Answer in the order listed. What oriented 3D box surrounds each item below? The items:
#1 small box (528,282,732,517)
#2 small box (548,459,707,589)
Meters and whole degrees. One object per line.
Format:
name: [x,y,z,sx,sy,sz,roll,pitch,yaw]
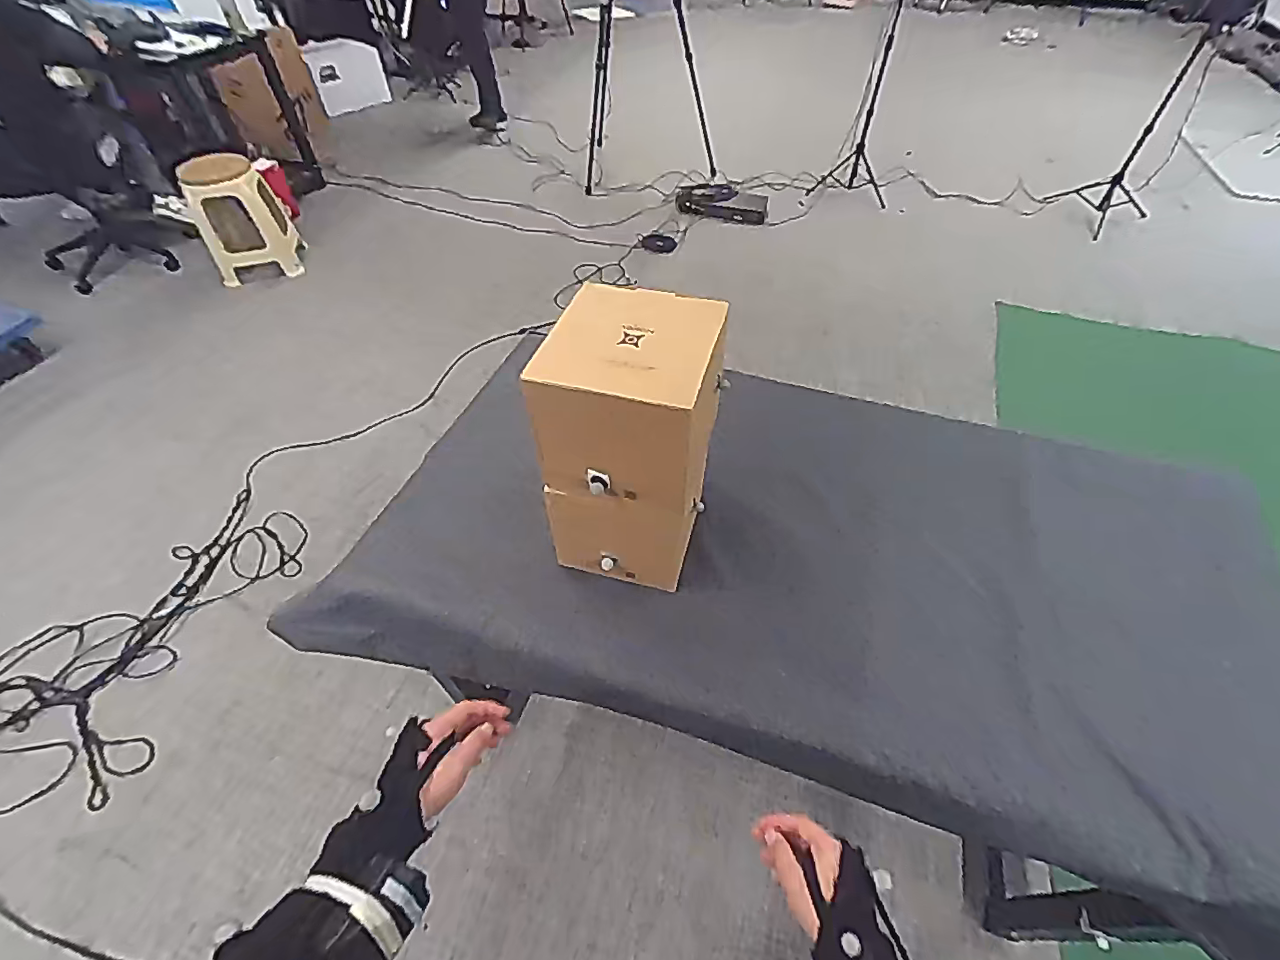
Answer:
small box: [-0.003,-0.089,0.596,0.168,0.176,0.179,11,52,11]
small box: [-0.007,0.016,0.720,0.168,0.176,0.179,12,51,10]
